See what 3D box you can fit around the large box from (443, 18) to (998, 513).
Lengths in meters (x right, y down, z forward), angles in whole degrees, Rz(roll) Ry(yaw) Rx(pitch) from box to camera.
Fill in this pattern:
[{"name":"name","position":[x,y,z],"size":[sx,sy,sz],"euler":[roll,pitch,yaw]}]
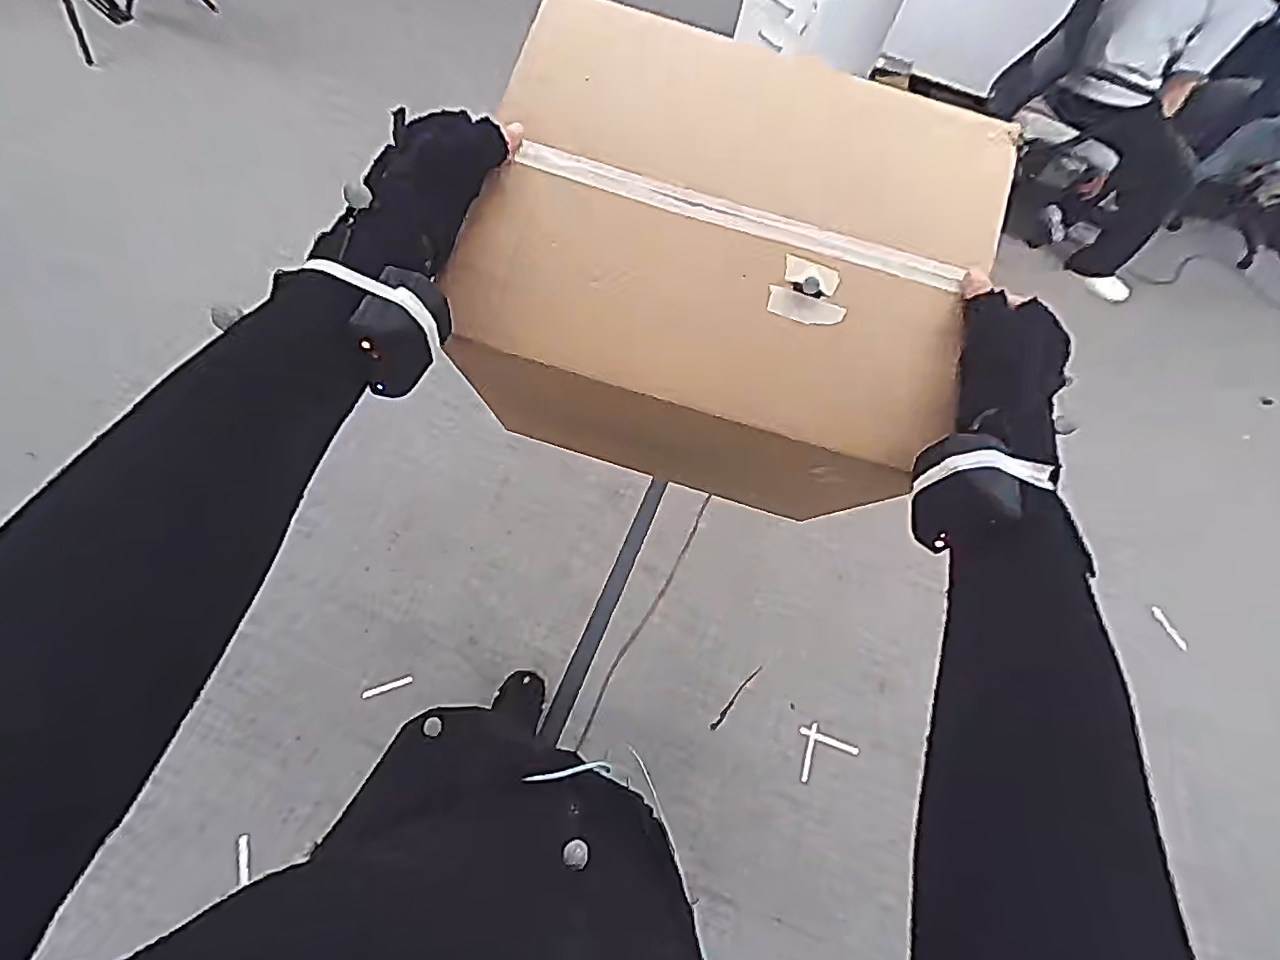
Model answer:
[{"name":"large box","position":[0.069,-0.177,0.587],"size":[0.408,0.320,0.320],"euler":[18,81,0]}]
